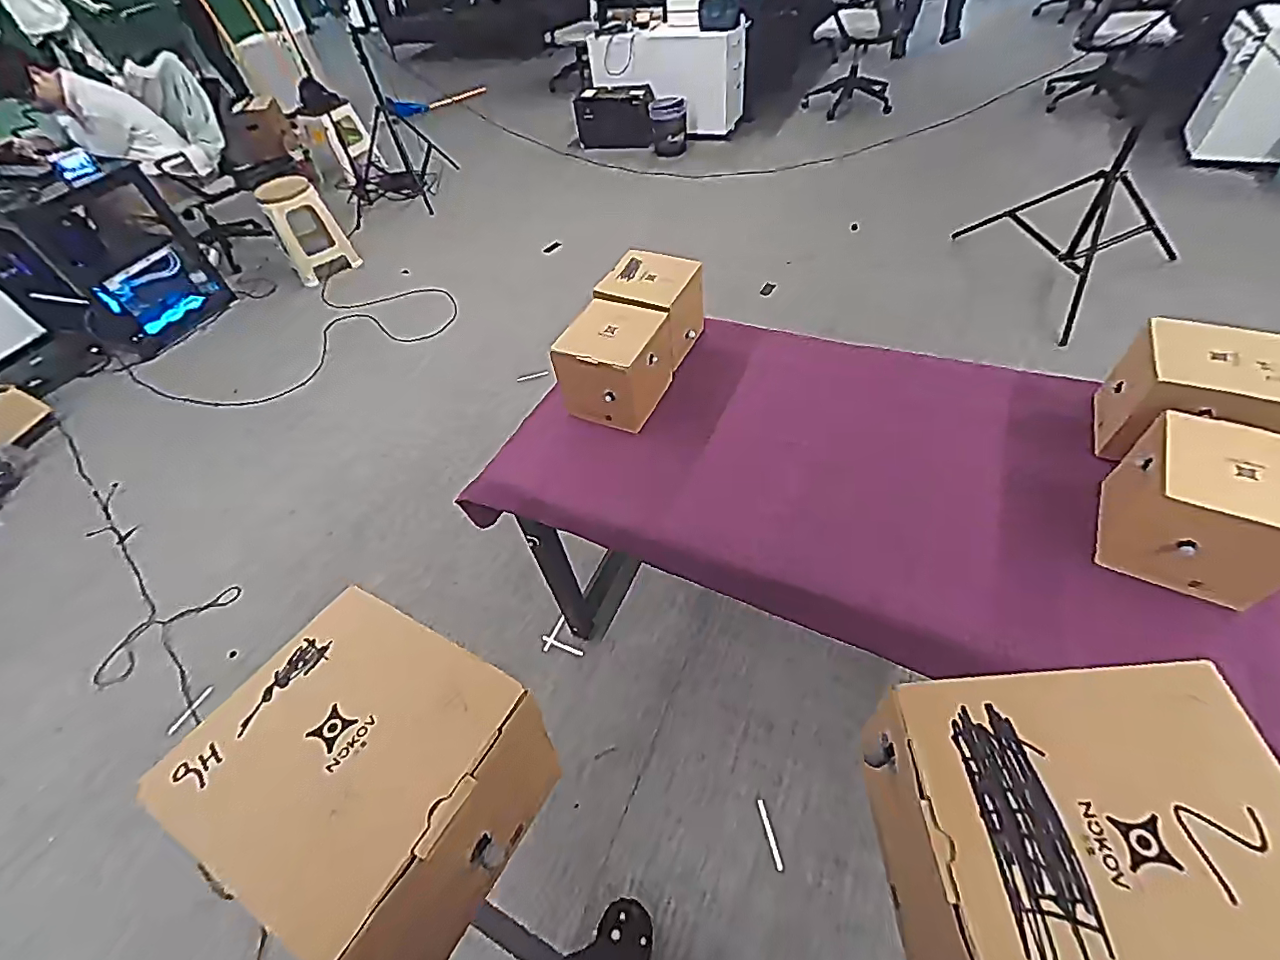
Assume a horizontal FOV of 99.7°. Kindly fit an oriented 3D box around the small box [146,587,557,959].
[{"bbox_3d":[-0.180,0.217,0.397,0.179,0.176,0.168,21,50,21],"label":"small box"}]

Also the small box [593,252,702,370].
[{"bbox_3d":[0.023,-0.361,1.167,0.179,0.176,0.168,19,58,20],"label":"small box"}]

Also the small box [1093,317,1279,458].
[{"bbox_3d":[0.860,-0.129,0.858,0.179,0.176,0.168,18,56,20],"label":"small box"}]

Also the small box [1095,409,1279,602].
[{"bbox_3d":[0.766,0.037,0.742,0.168,0.176,0.179,20,55,24],"label":"small box"}]
